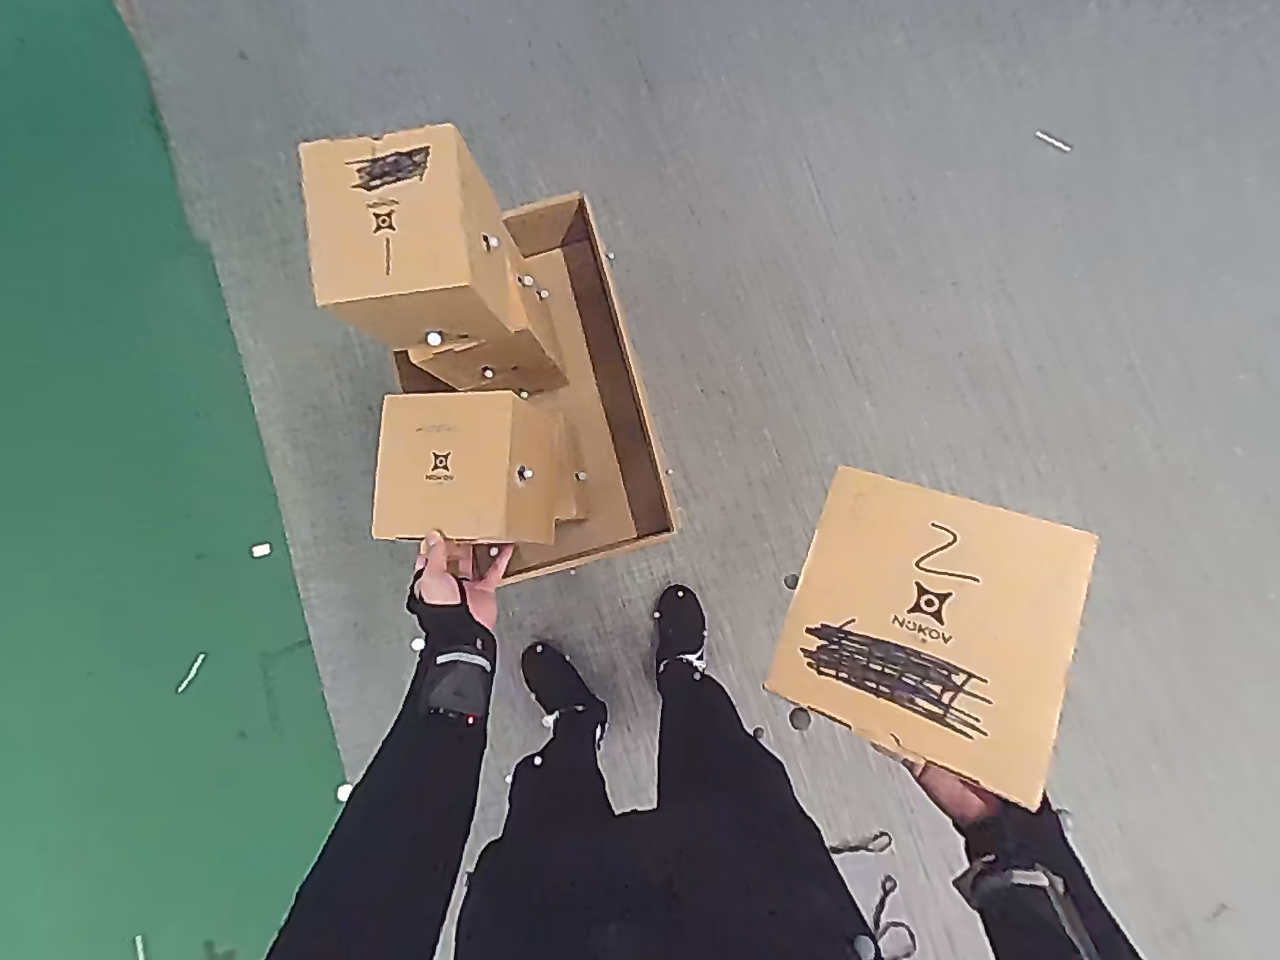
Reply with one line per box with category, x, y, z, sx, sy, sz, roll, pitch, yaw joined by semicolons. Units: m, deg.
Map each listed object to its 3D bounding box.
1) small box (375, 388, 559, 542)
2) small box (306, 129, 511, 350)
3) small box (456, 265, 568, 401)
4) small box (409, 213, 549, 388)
small box;-0.213;-0.010;0.707;0.168;0.176;0.179;0;81;11
small box;-0.261;-0.271;0.644;0.168;0.176;0.179;-7;87;2
small box;-0.239;-0.248;0.968;0.168;0.176;0.179;-16;86;2
small box;-0.247;-0.256;0.807;0.168;0.176;0.179;-16;86;1
